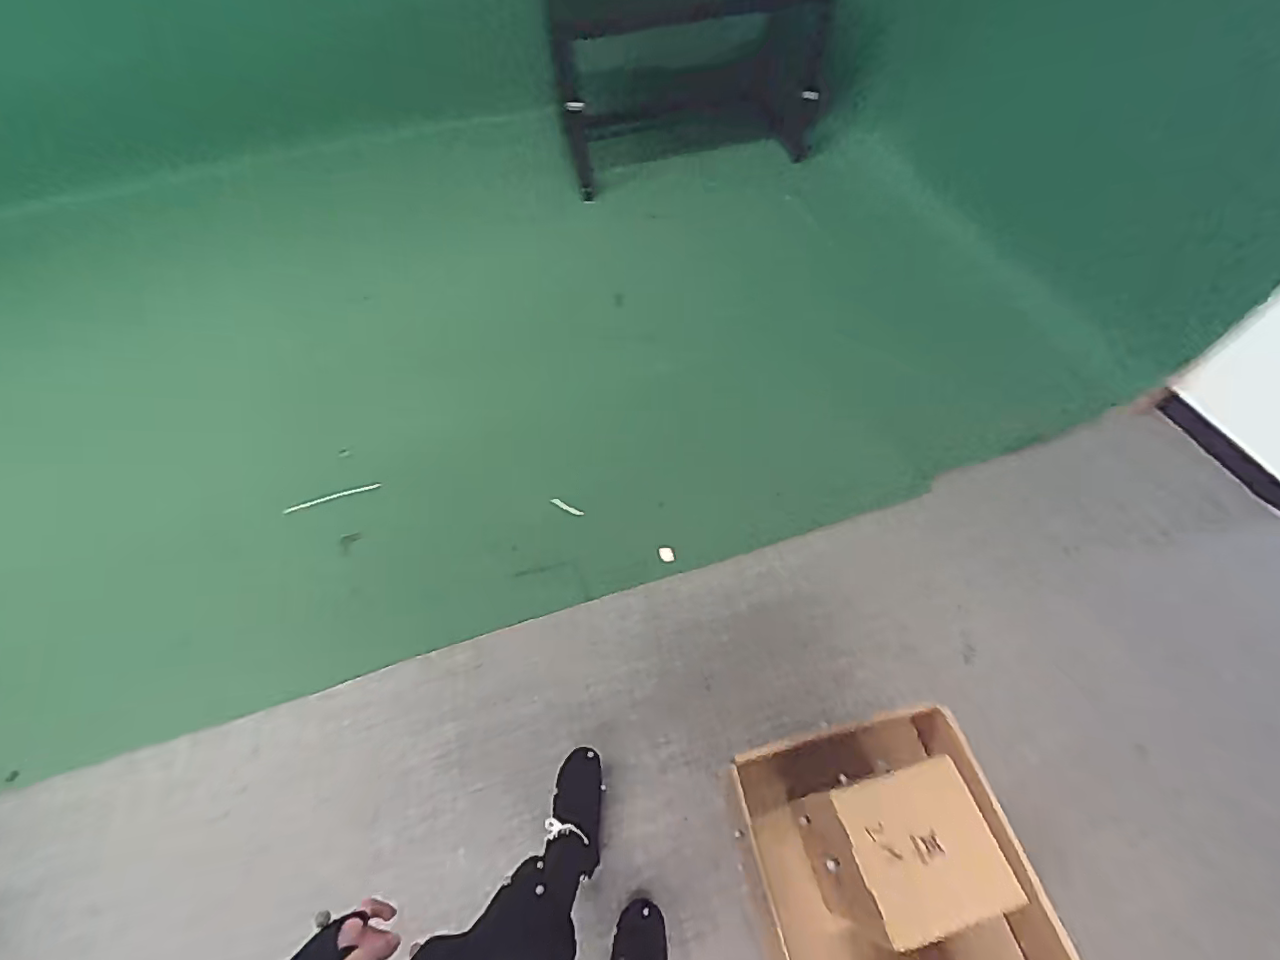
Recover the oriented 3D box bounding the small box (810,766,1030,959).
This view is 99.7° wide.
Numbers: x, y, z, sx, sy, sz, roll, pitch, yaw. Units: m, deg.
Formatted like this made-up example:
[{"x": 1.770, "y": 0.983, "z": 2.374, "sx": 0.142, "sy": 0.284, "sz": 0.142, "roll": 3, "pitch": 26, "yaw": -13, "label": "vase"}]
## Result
[{"x": 0.356, "y": 0.503, "z": 0.729, "sx": 0.179, "sy": 0.176, "sz": 0.168, "roll": -14, "pitch": 57, "yaw": -6, "label": "small box"}]
